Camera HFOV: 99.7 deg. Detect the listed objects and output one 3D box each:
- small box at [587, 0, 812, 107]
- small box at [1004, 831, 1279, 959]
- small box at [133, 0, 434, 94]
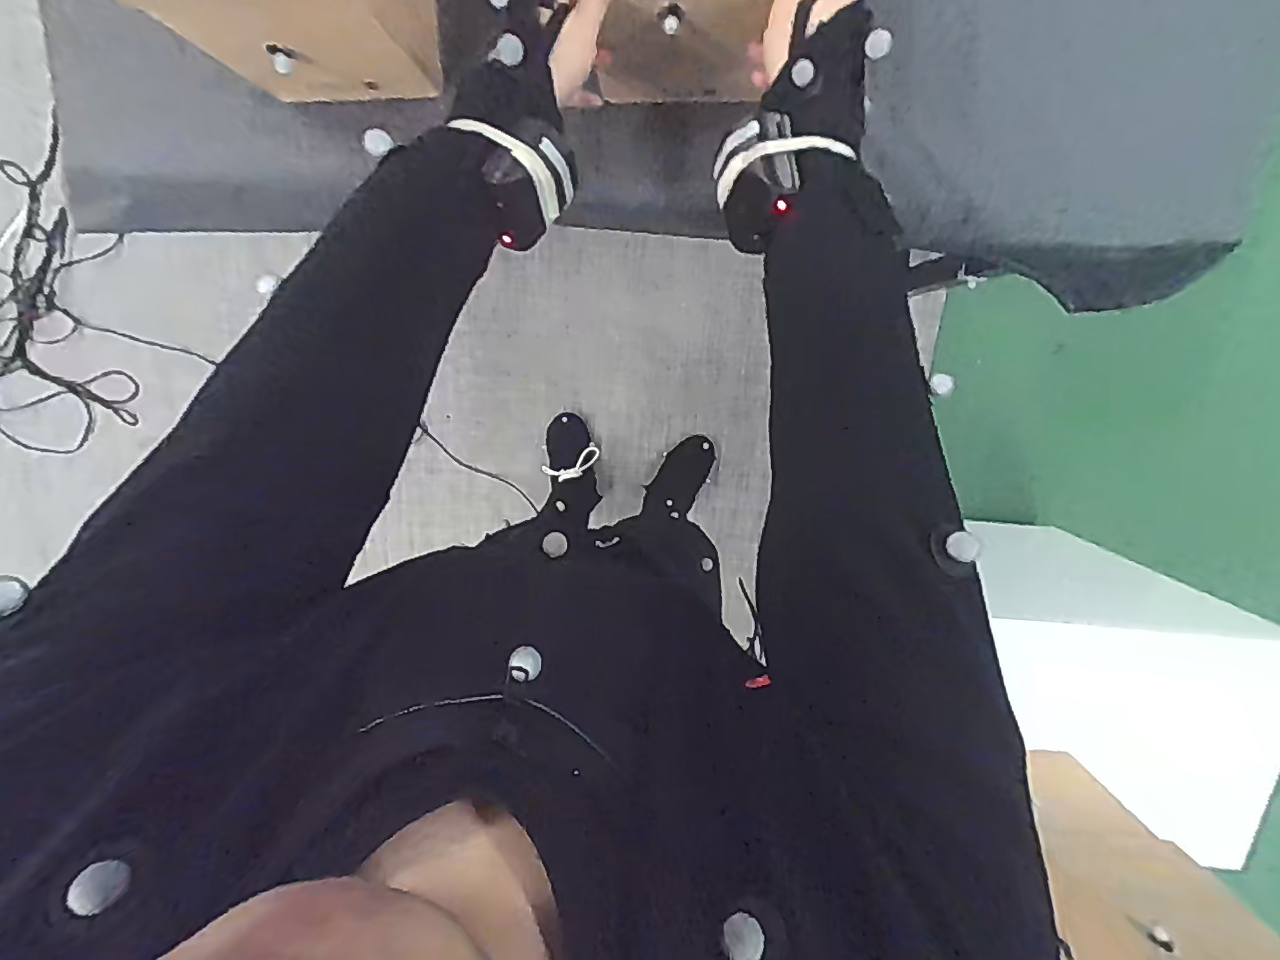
[{"bbox_3d":[0.042,-0.437,0.434,0.168,0.176,0.179,1,104,1],"label":"small box"},{"bbox_3d":[0.557,0.536,0.615,0.179,0.176,0.168,1,103,1],"label":"small box"},{"bbox_3d":[-0.282,-0.443,0.439,0.168,0.176,0.179,-1,103,1],"label":"small box"}]
